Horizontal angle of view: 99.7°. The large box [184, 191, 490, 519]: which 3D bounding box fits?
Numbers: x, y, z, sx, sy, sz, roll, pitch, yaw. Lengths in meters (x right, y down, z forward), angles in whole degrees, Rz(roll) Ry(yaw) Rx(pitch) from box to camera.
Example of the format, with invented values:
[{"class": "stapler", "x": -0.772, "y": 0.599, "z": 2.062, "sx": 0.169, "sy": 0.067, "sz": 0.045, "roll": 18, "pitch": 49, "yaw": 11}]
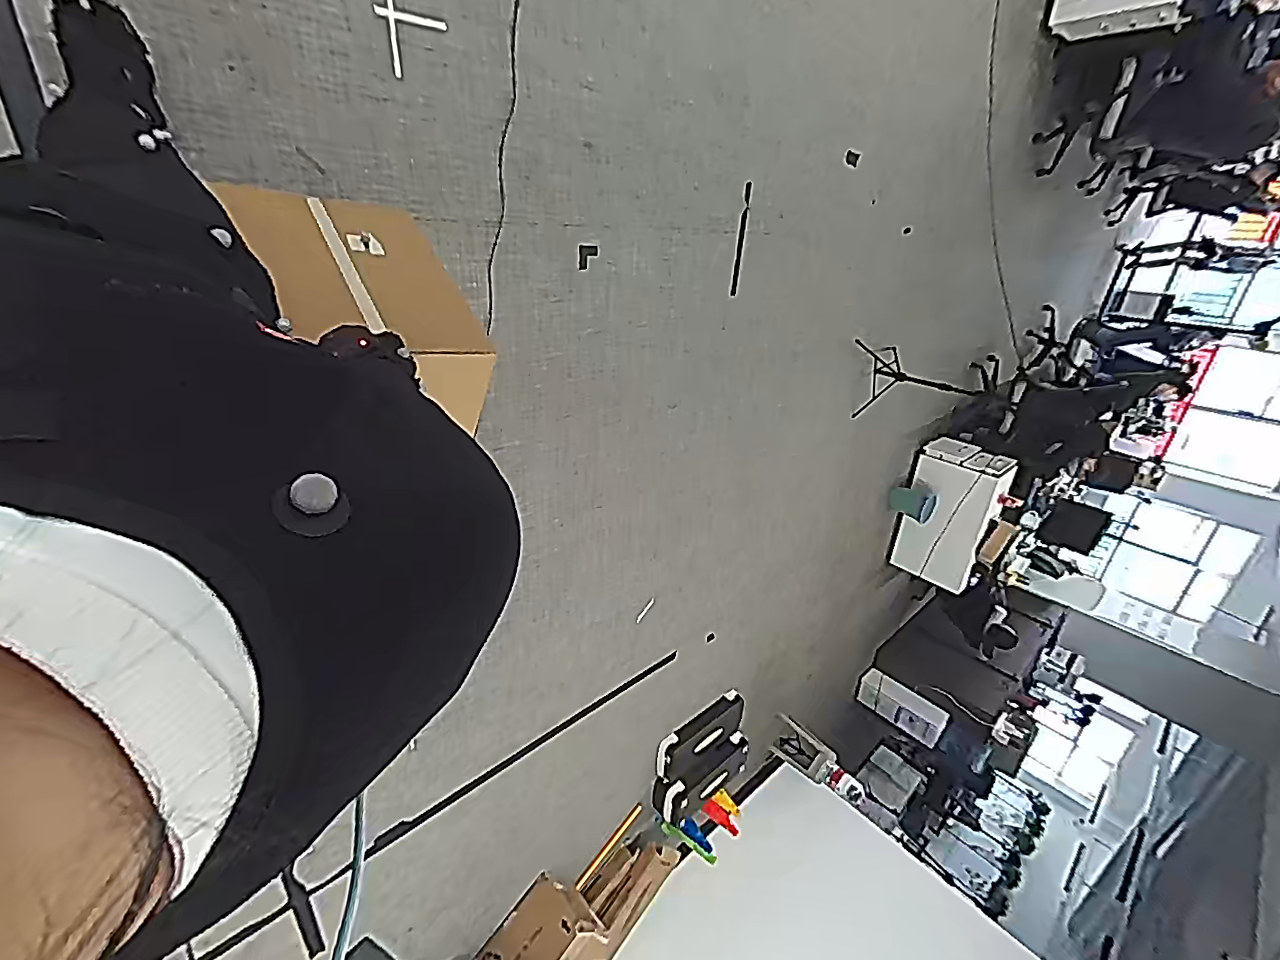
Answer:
[{"class": "large box", "x": -0.498, "y": -0.203, "z": 0.887, "sx": 0.320, "sy": 0.408, "sz": 0.320, "roll": -11, "pitch": 143, "yaw": -41}]
